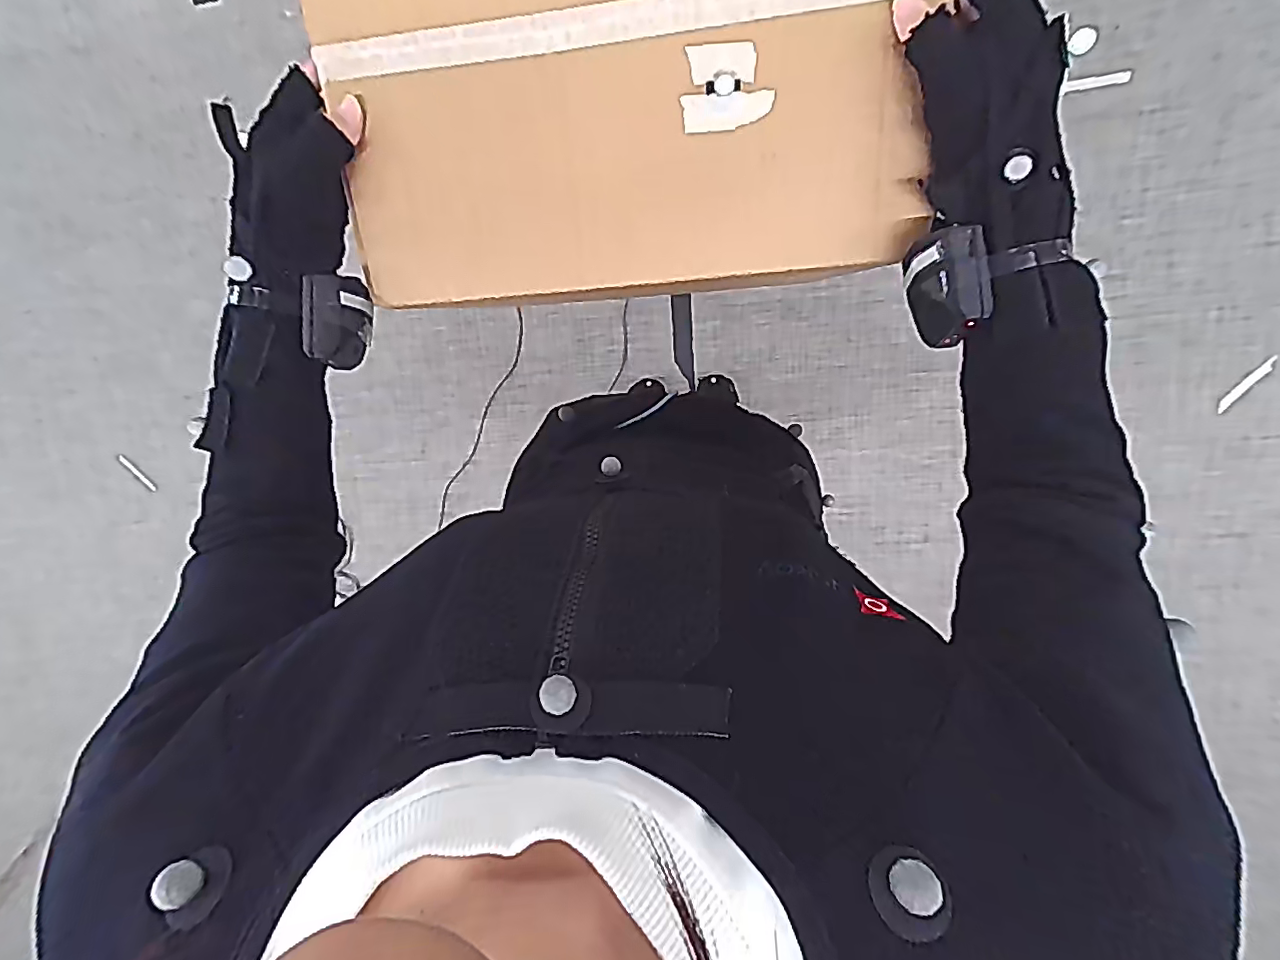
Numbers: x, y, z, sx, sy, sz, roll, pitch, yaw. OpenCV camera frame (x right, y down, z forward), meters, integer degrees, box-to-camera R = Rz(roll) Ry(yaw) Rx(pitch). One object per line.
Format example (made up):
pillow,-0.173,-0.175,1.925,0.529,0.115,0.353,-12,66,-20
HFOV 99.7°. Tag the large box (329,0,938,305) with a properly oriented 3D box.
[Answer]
large box,0.000,-0.343,0.497,0.408,0.320,0.320,-4,108,6
